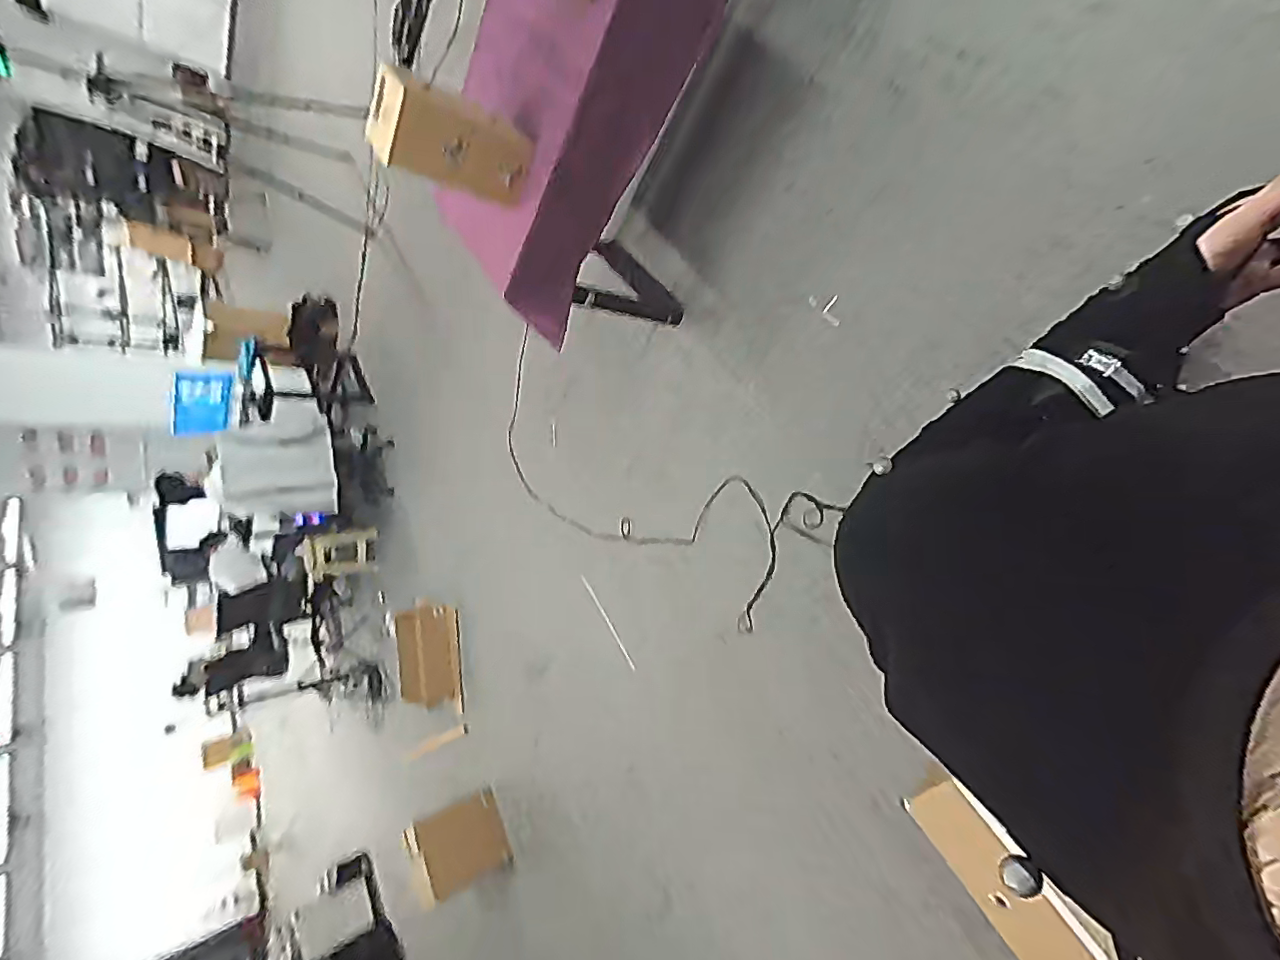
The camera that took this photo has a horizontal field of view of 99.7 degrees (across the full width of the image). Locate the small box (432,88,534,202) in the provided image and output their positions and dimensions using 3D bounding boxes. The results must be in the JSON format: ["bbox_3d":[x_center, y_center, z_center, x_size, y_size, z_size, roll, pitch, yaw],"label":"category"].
[{"bbox_3d":[-0.401,-0.848,1.385,0.179,0.176,0.168,56,128,26],"label":"small box"}]
